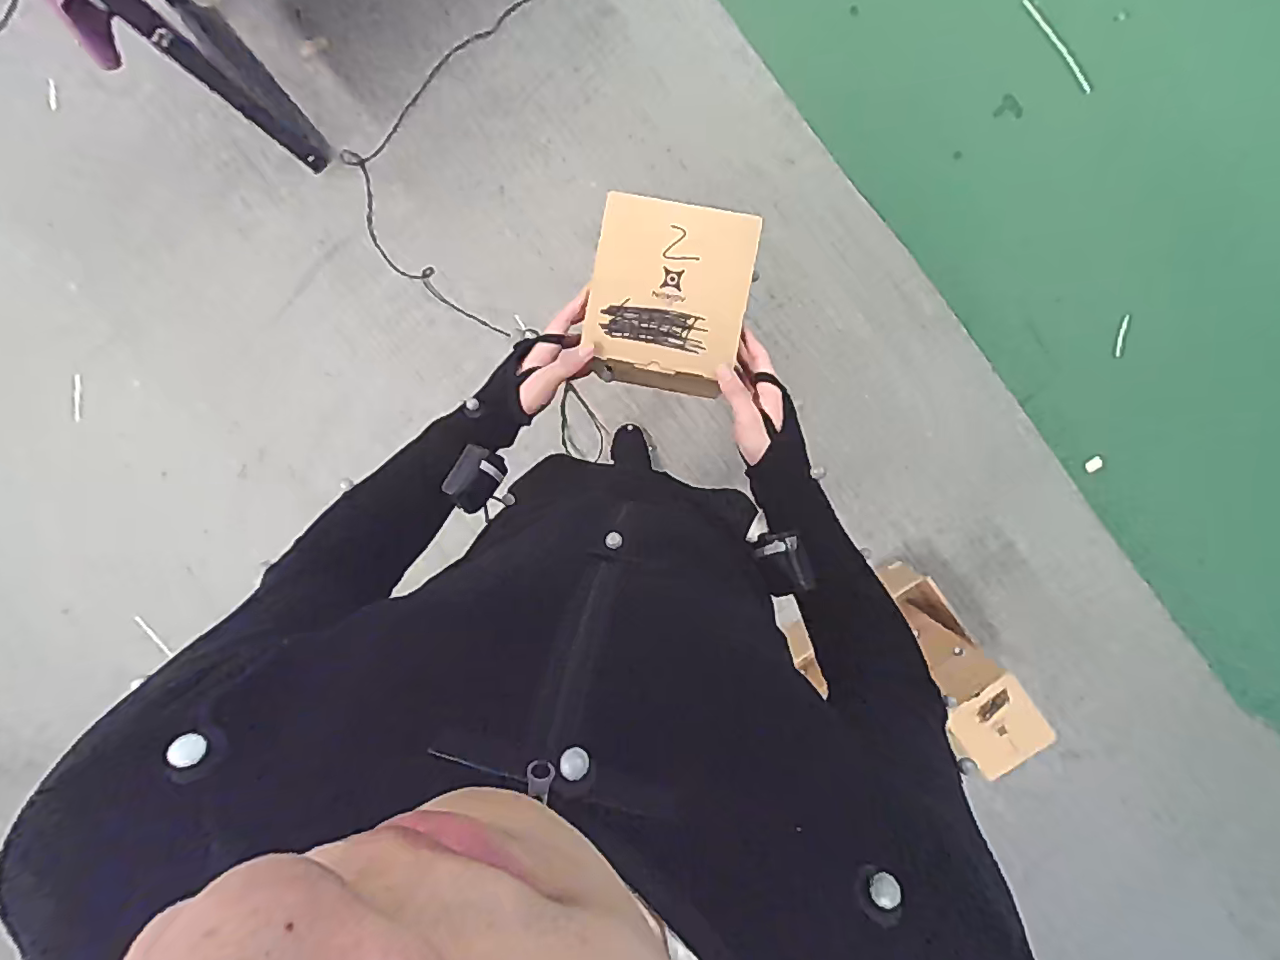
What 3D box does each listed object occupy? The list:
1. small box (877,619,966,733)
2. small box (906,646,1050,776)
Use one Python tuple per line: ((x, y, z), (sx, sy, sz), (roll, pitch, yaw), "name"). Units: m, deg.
((0.732, 0.479, 1.347), (0.168, 0.176, 0.179), (-34, 93, 4), "small box")
((0.725, 0.490, 1.183), (0.168, 0.176, 0.179), (-36, 94, 4), "small box")
